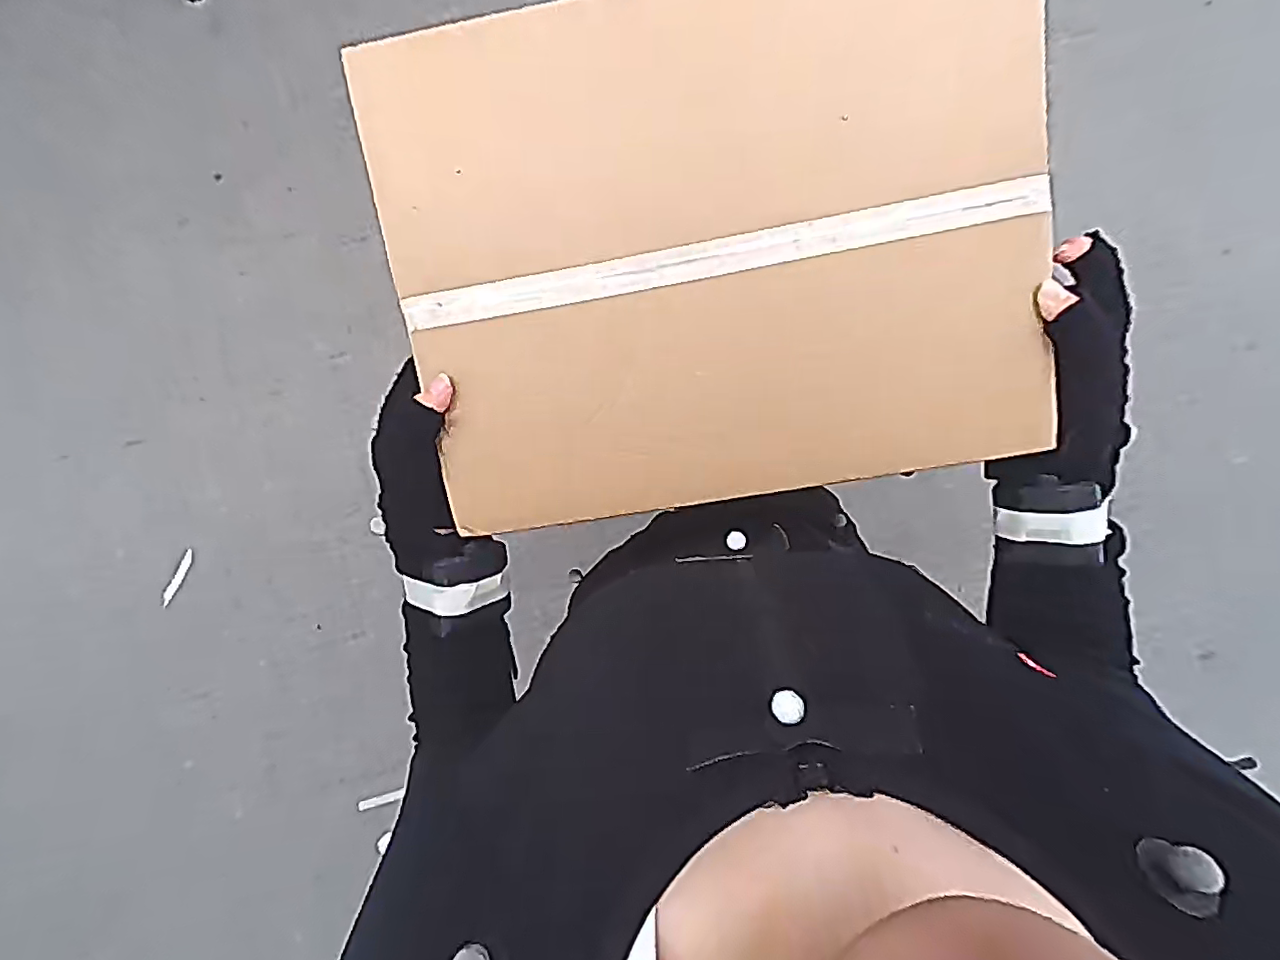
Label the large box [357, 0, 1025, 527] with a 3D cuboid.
[{"bbox_3d":[0.049,-0.176,0.497,0.408,0.320,0.320,-9,101,5],"label":"large box"}]
